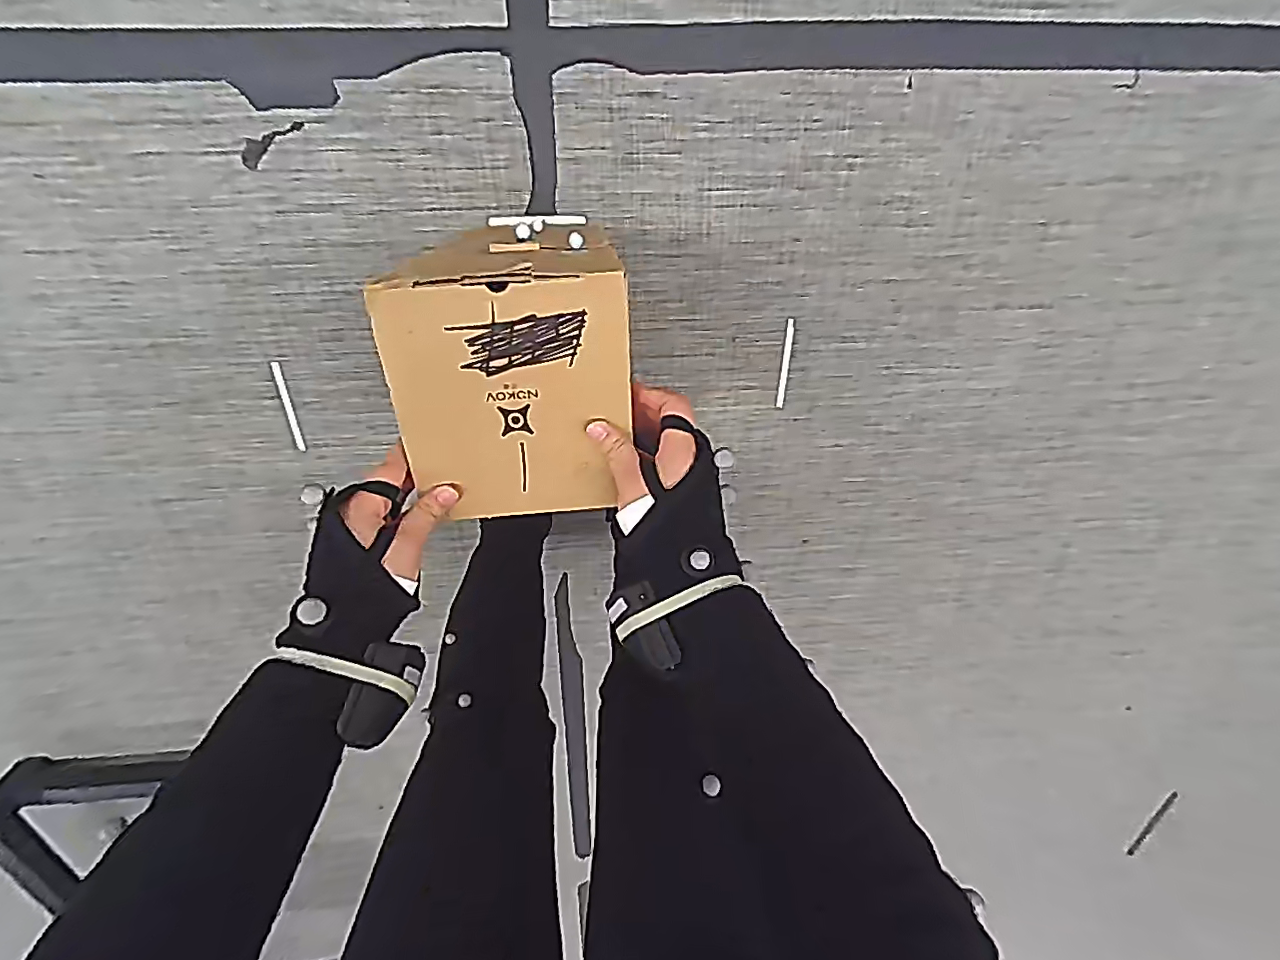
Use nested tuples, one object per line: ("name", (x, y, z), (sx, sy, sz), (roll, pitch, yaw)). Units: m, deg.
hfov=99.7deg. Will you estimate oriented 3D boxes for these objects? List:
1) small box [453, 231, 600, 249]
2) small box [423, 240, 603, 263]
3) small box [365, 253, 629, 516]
("small box", (-0.140, -0.247, 0.742), (0.179, 0.176, 0.168), (-3, 118, -3))
("small box", (-0.122, -0.168, 0.600), (0.168, 0.176, 0.179), (-5, 118, -4))
("small box", (-0.101, -0.091, 0.456), (0.168, 0.176, 0.179), (-5, 119, -4))
